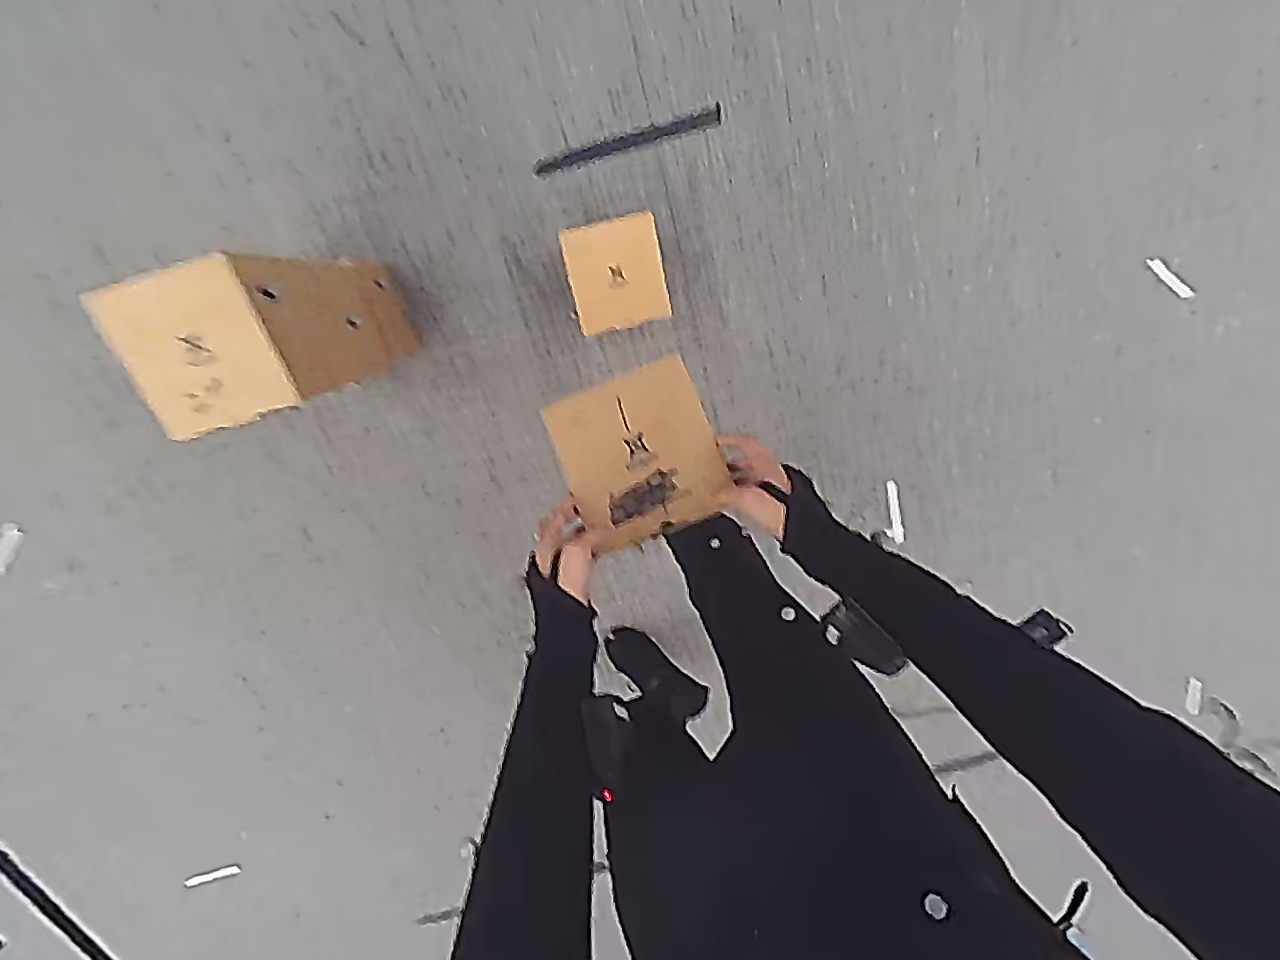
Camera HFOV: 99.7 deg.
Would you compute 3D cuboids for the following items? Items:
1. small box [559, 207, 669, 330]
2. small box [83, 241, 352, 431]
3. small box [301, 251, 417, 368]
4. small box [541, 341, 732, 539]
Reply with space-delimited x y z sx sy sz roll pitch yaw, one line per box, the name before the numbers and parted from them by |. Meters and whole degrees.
small box | -0.053 -0.391 1.014 0.168 0.176 0.179 -14 111 -2
small box | -0.508 -0.184 0.685 0.168 0.176 0.179 -17 111 1
small box | -0.538 -0.300 0.990 0.168 0.176 0.179 -17 110 1
small box | 0.002 -0.037 0.661 0.168 0.176 0.179 -21 83 2
